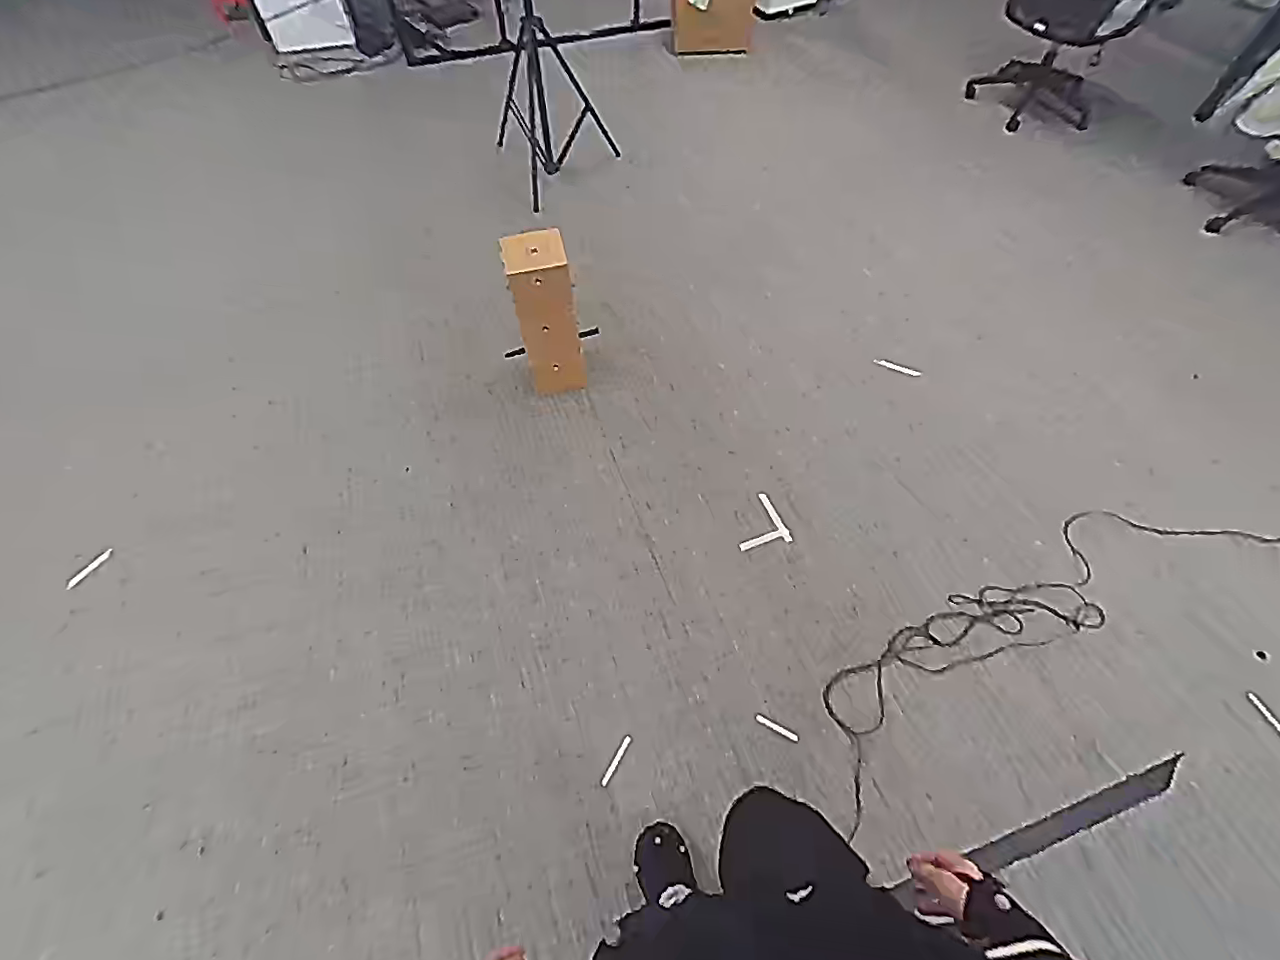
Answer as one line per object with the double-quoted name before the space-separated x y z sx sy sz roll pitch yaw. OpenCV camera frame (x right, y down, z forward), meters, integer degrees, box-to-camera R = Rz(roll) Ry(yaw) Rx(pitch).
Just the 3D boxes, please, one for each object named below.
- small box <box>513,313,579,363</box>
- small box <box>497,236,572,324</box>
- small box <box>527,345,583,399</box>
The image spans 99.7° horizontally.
"small box" -0.301 -0.493 1.722 0.179 0.176 0.168 -11 60 -6
"small box" -0.306 -0.583 1.587 0.179 0.176 0.168 -13 61 -8
"small box" -0.296 -0.402 1.859 0.179 0.176 0.168 -13 60 -7
